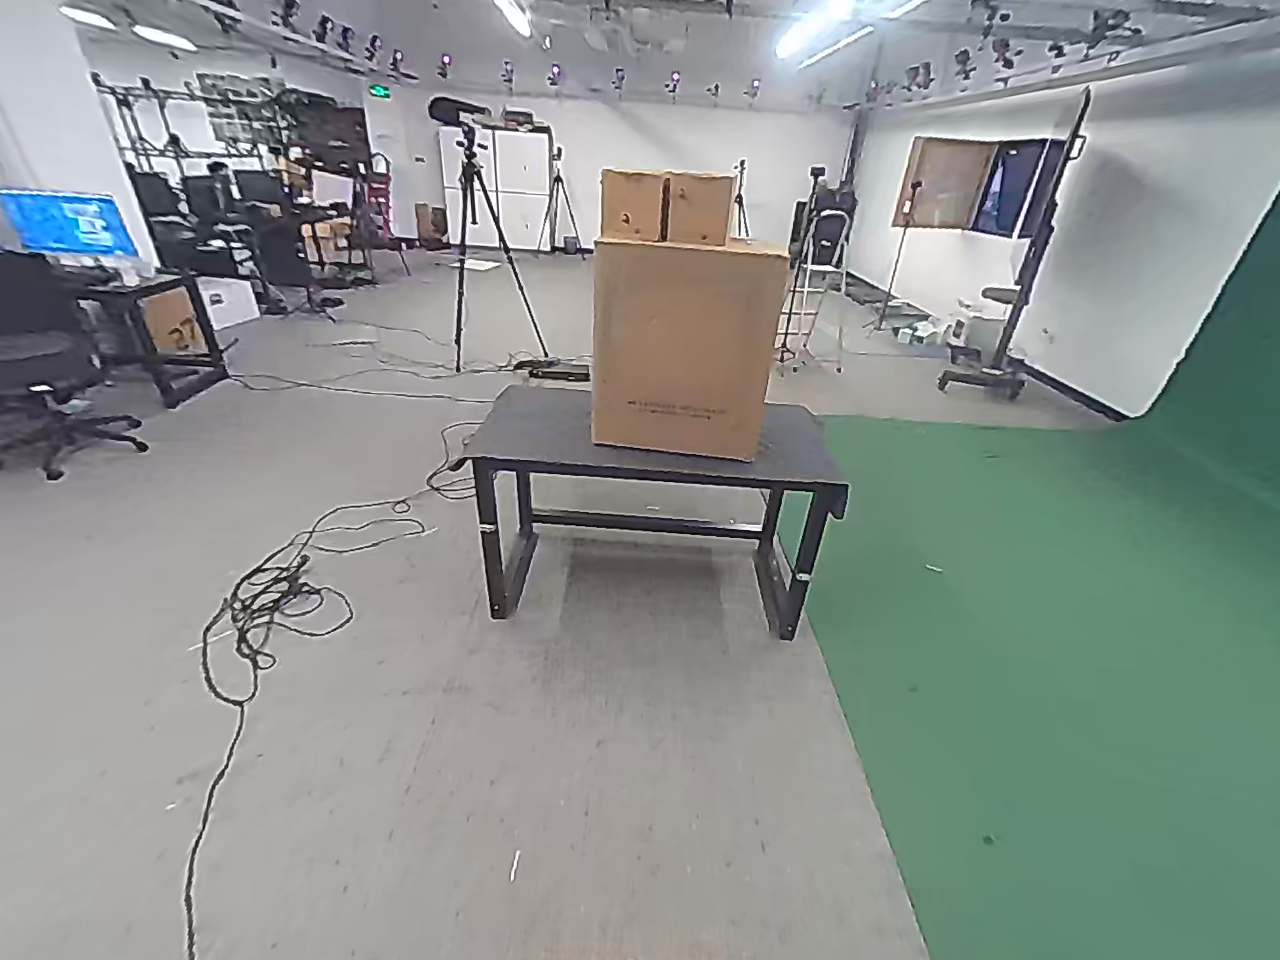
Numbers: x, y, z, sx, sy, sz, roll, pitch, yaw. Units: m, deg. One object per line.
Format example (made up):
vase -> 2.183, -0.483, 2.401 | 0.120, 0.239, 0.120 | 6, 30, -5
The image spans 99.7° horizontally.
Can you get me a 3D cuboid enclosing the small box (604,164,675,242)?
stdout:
small box -> -0.003, -0.773, 1.506 | 0.168, 0.176, 0.179 | 9, 34, 8
